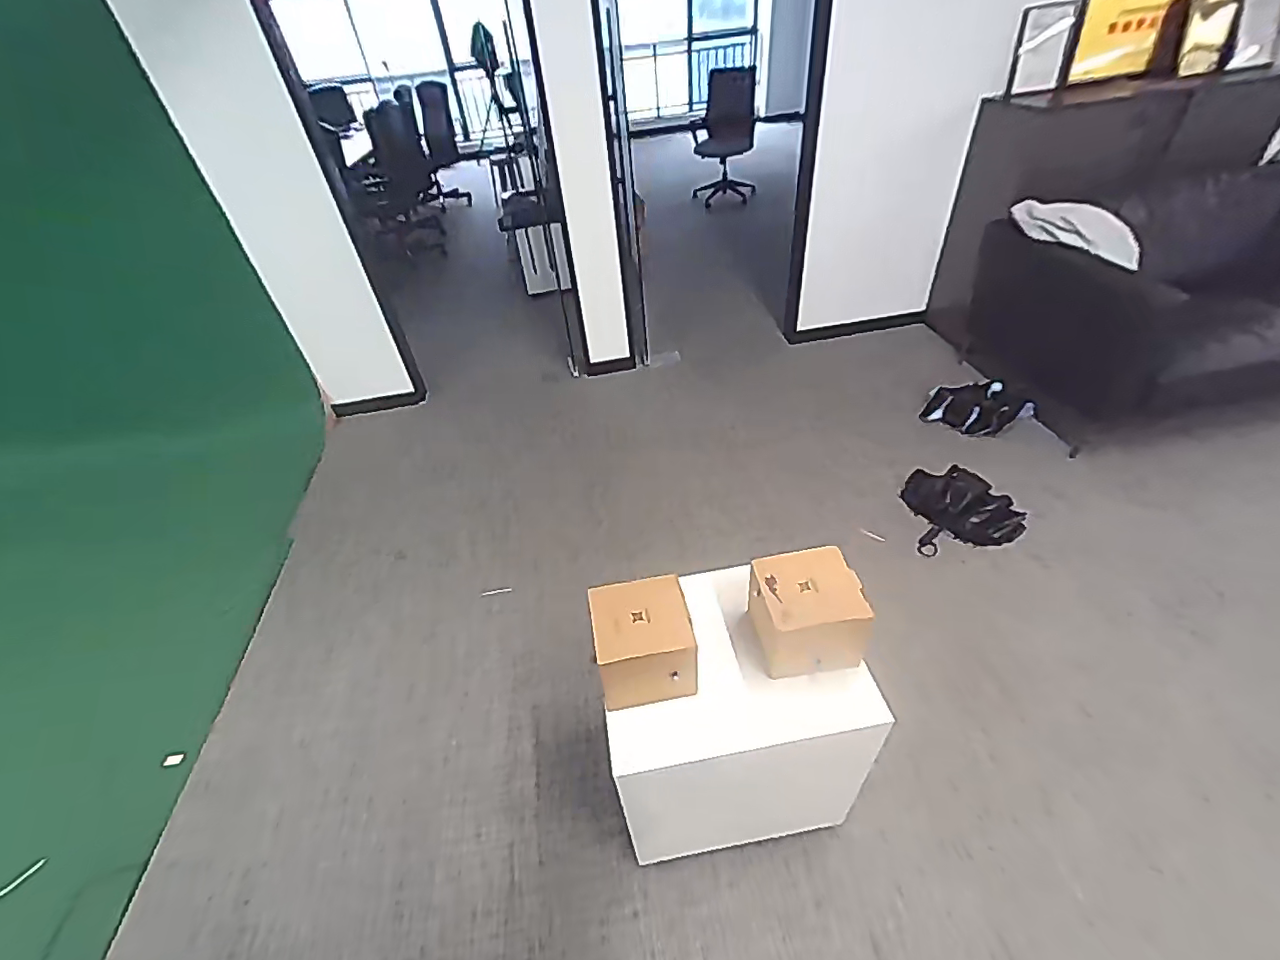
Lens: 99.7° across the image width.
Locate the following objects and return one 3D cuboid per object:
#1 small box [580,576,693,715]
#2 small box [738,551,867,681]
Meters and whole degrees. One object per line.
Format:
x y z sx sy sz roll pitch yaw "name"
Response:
-0.009 0.307 1.003 0.179 0.176 0.168 -10 40 -8 "small box"
0.299 0.261 1.036 0.179 0.176 0.168 -7 41 -5 "small box"
